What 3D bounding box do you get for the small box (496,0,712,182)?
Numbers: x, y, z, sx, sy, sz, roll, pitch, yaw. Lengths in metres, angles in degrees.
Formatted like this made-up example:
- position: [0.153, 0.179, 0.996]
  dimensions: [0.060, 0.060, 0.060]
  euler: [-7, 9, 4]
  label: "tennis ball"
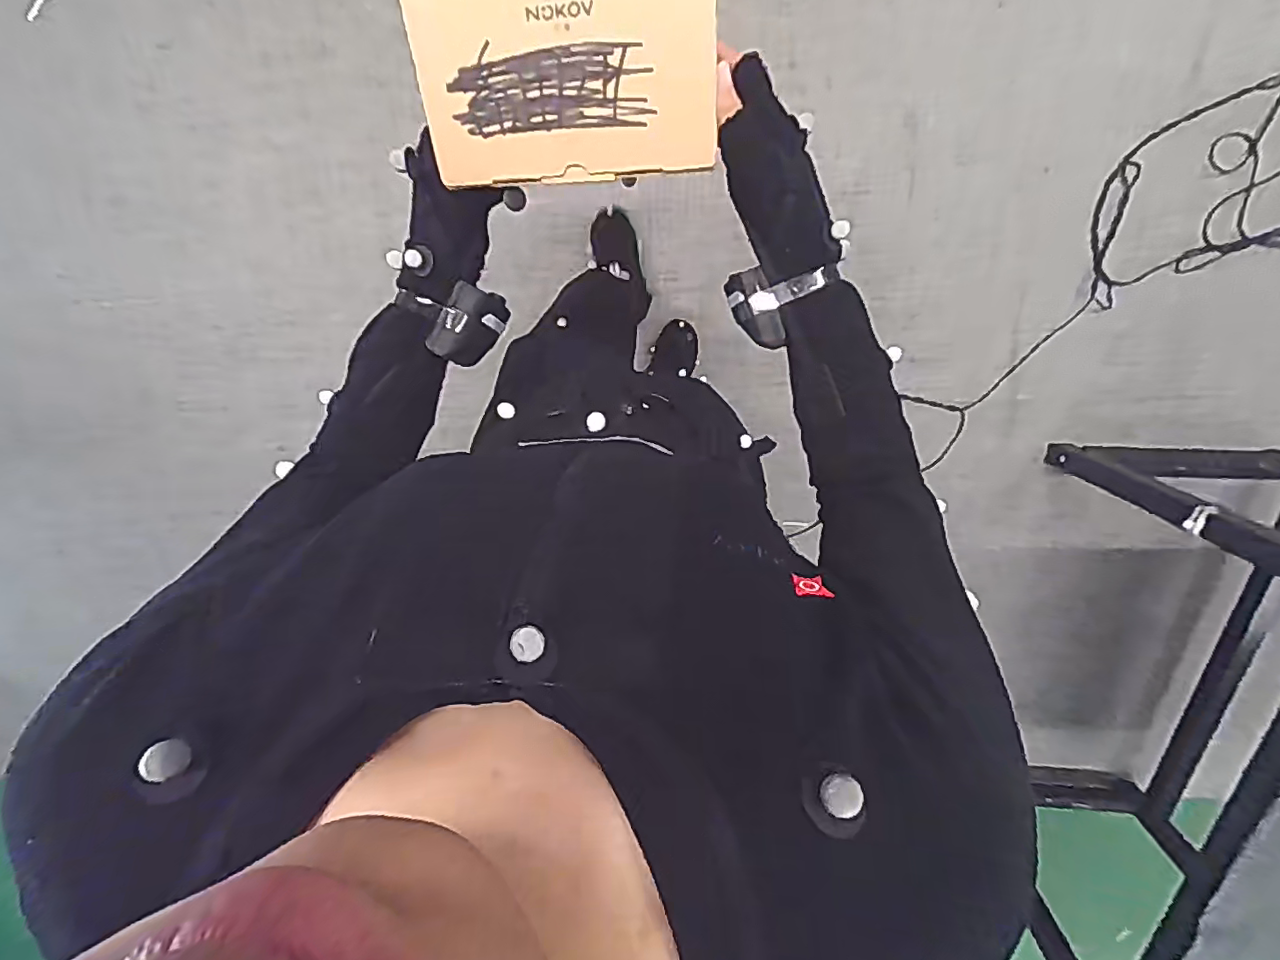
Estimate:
- position: [-0.022, -0.384, 0.493]
  dimensions: [0.168, 0.176, 0.179]
  euler: [-3, 116, 8]
  label: "small box"
